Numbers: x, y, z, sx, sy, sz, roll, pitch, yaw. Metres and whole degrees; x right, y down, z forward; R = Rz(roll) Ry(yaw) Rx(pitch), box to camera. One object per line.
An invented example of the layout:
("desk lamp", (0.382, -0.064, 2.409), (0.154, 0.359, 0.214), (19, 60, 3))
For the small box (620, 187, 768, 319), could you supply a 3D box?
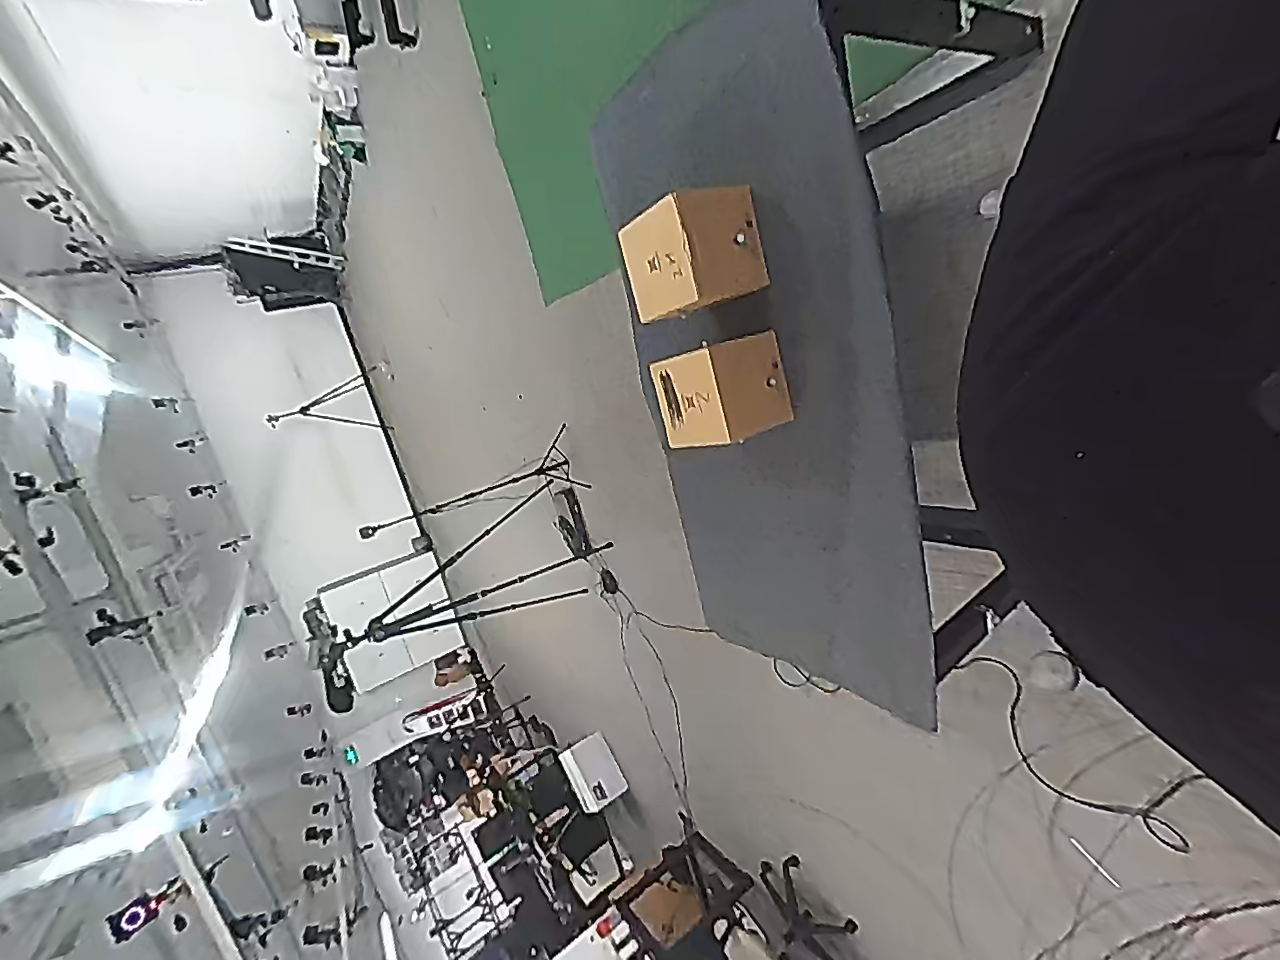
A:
("small box", (0.095, -0.396, 0.955), (0.179, 0.176, 0.168), (2, 111, 57))
